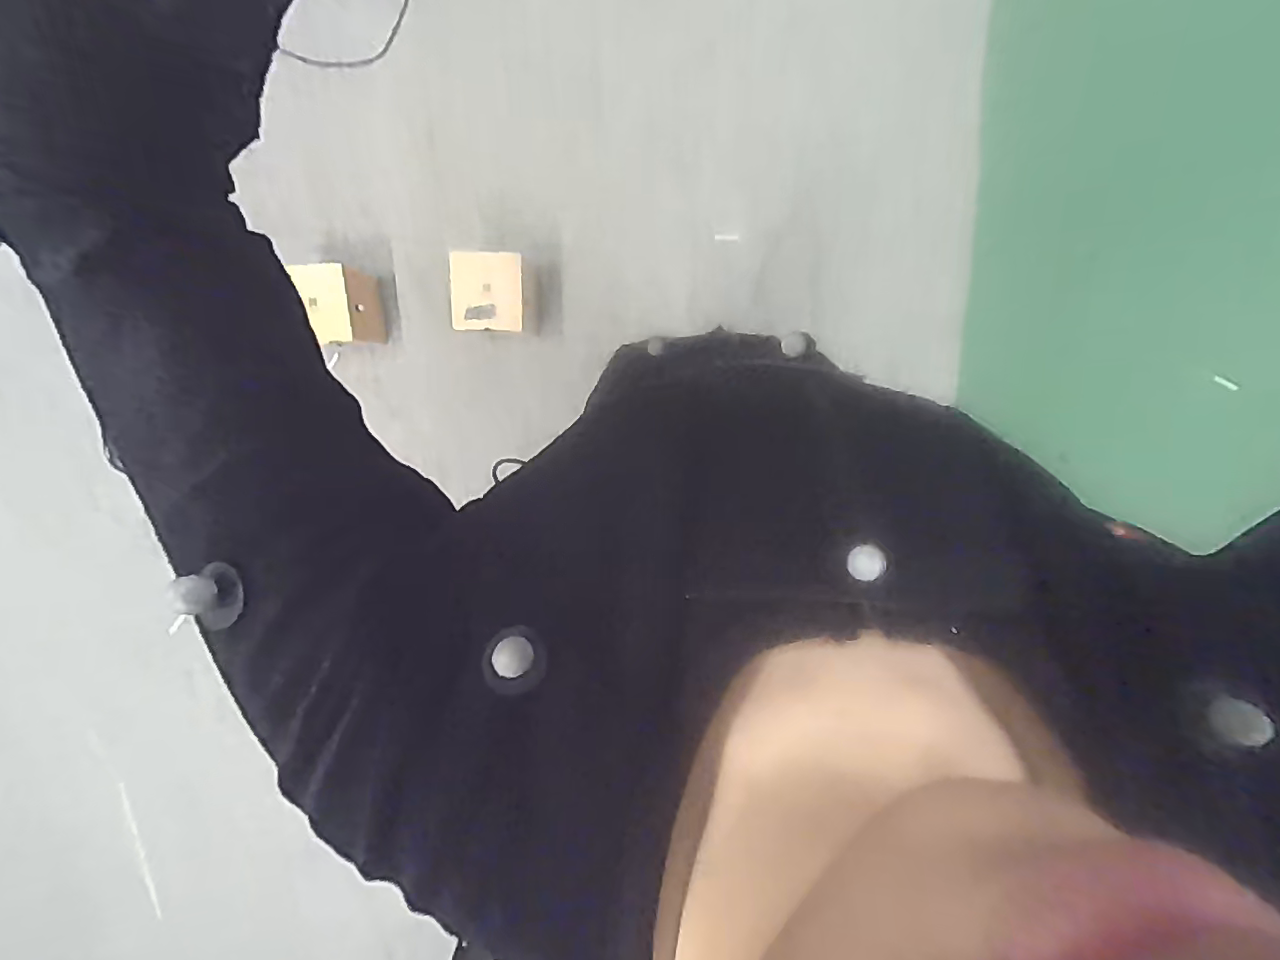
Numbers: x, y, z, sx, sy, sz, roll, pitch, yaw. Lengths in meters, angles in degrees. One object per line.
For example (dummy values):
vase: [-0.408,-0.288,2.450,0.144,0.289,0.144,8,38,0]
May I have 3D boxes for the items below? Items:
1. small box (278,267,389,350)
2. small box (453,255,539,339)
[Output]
small box: [-0.745,-0.416,1.333,0.168,0.176,0.179,-3,102,2]
small box: [-0.343,-0.438,1.317,0.168,0.176,0.179,2,101,1]
